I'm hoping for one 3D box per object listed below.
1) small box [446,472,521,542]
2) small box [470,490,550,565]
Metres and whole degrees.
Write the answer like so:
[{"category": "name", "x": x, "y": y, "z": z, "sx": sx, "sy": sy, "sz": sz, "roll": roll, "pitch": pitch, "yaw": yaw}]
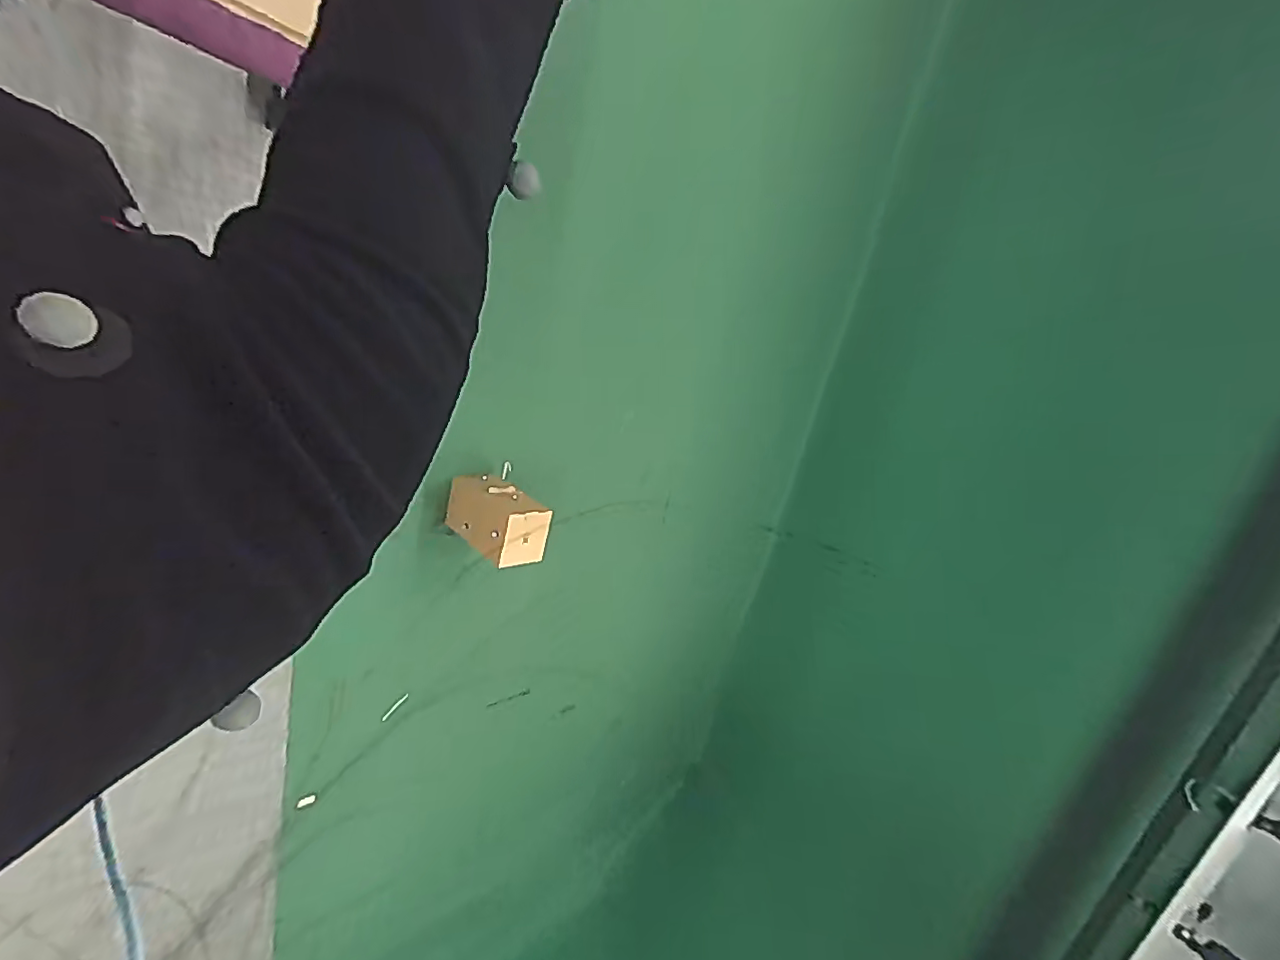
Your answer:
[{"category": "small box", "x": -0.528, "y": 0.086, "z": 1.807, "sx": 0.168, "sy": 0.176, "sz": 0.179, "roll": -4, "pitch": 114, "yaw": -50}, {"category": "small box", "x": -0.414, "y": 0.144, "z": 1.707, "sx": 0.168, "sy": 0.176, "sz": 0.179, "roll": -3, "pitch": 112, "yaw": -50}]
